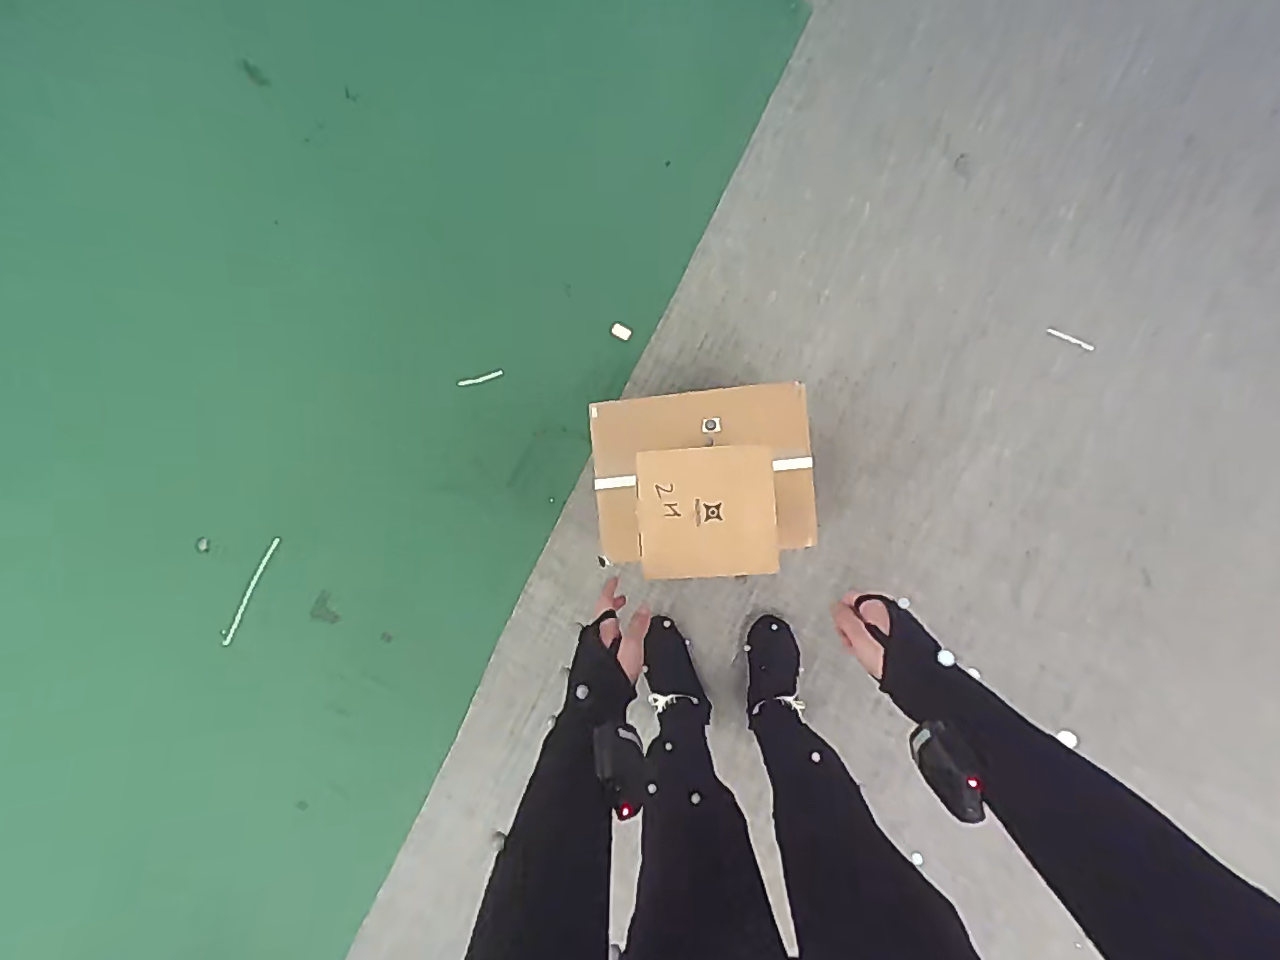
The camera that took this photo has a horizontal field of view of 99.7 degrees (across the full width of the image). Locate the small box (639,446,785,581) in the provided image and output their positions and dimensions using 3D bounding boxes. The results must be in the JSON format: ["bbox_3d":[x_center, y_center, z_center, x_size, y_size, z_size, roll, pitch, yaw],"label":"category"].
[{"bbox_3d":[0.095,0.043,0.749,0.179,0.176,0.168,-3,88,5],"label":"small box"}]
